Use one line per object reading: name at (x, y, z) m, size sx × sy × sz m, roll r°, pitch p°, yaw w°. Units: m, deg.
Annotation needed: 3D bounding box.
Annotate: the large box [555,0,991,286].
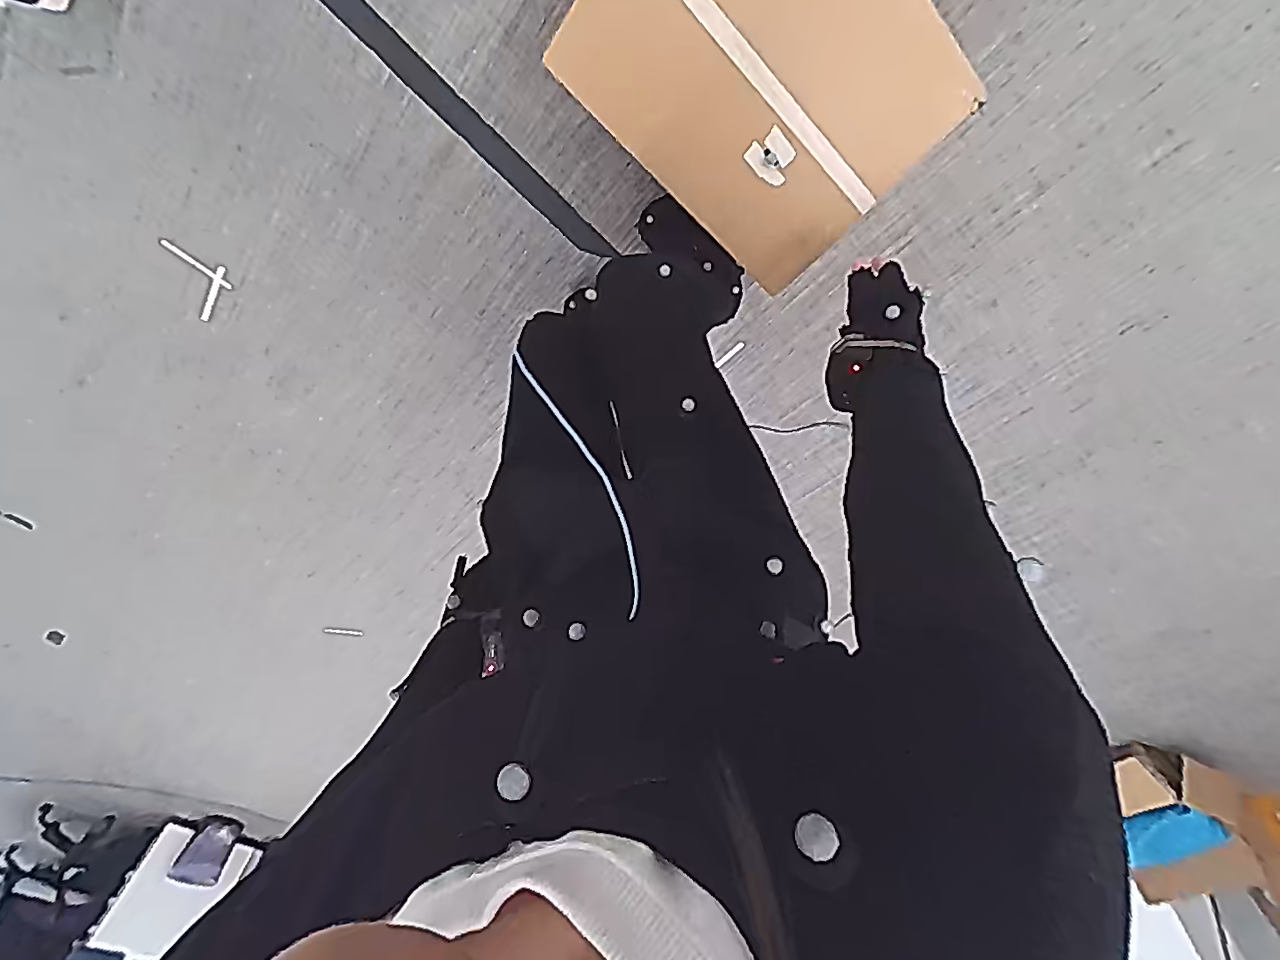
large box at (0.156, -0.554, 0.726) m, size 0.408 × 0.320 × 0.320 m, roll 35°, pitch 125°, yaw -22°
